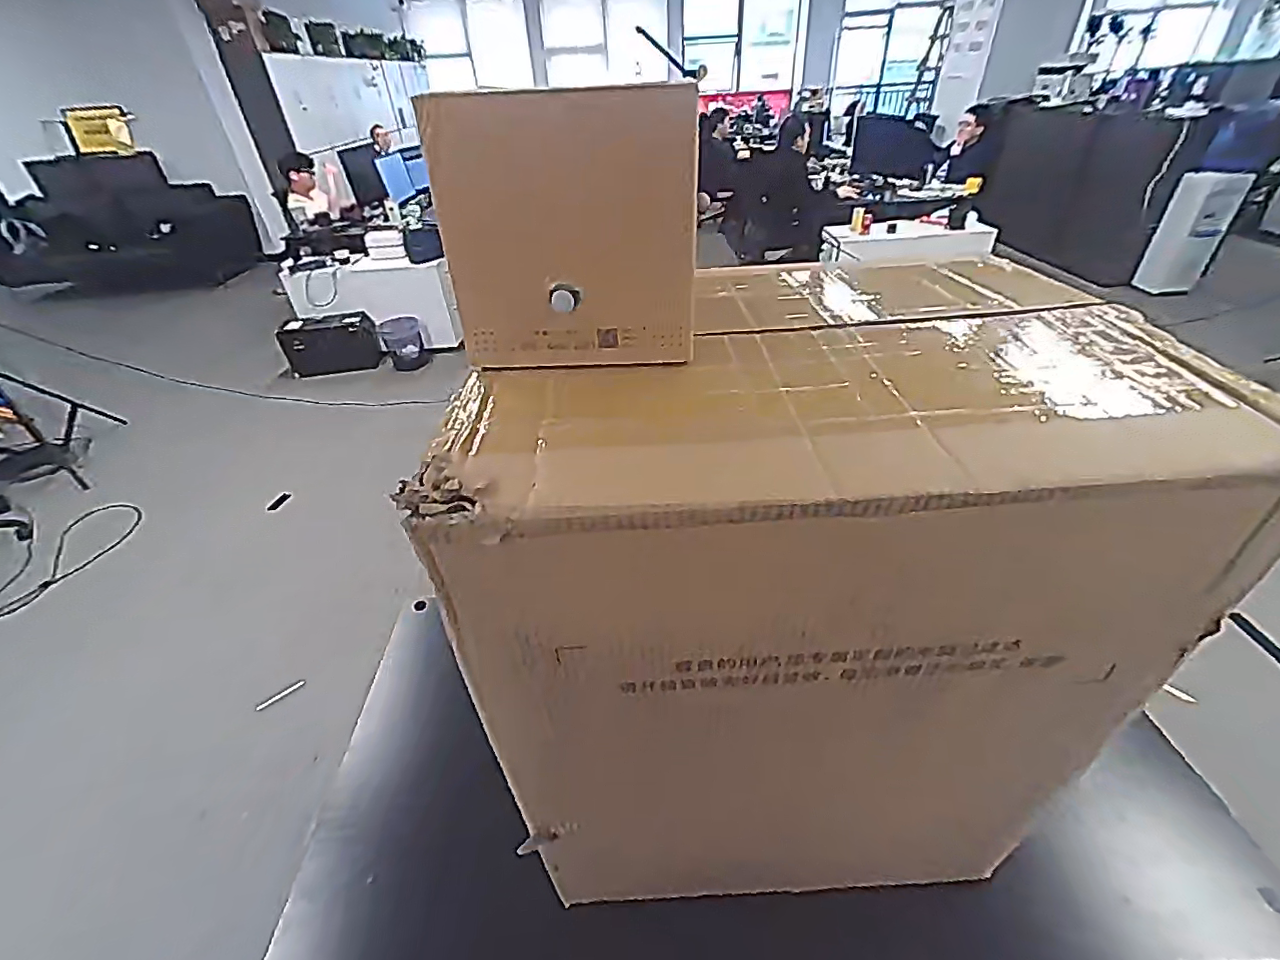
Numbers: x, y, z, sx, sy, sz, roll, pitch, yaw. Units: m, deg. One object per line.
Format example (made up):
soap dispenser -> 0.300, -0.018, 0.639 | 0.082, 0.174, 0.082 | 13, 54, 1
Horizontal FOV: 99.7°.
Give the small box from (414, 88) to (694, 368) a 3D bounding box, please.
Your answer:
small box -> -0.046, -0.199, 0.423 | 0.168, 0.176, 0.179 | -2, 37, 2
